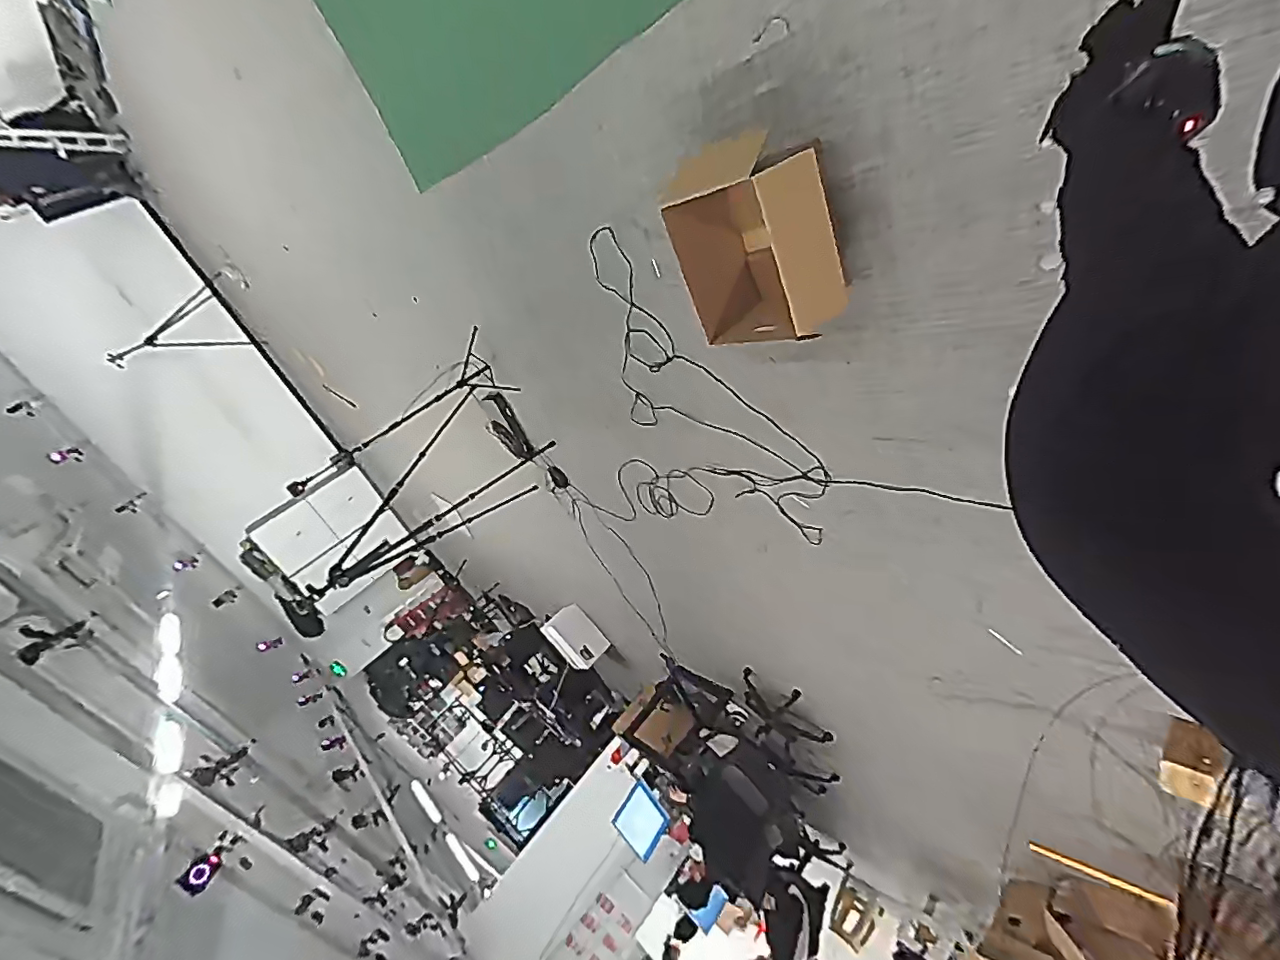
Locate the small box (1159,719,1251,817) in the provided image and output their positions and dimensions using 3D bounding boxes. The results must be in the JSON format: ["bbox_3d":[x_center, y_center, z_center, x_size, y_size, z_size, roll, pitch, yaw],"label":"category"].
[{"bbox_3d":[1.706,0.860,1.635,0.179,0.176,0.168,6,131,49],"label":"small box"}]
